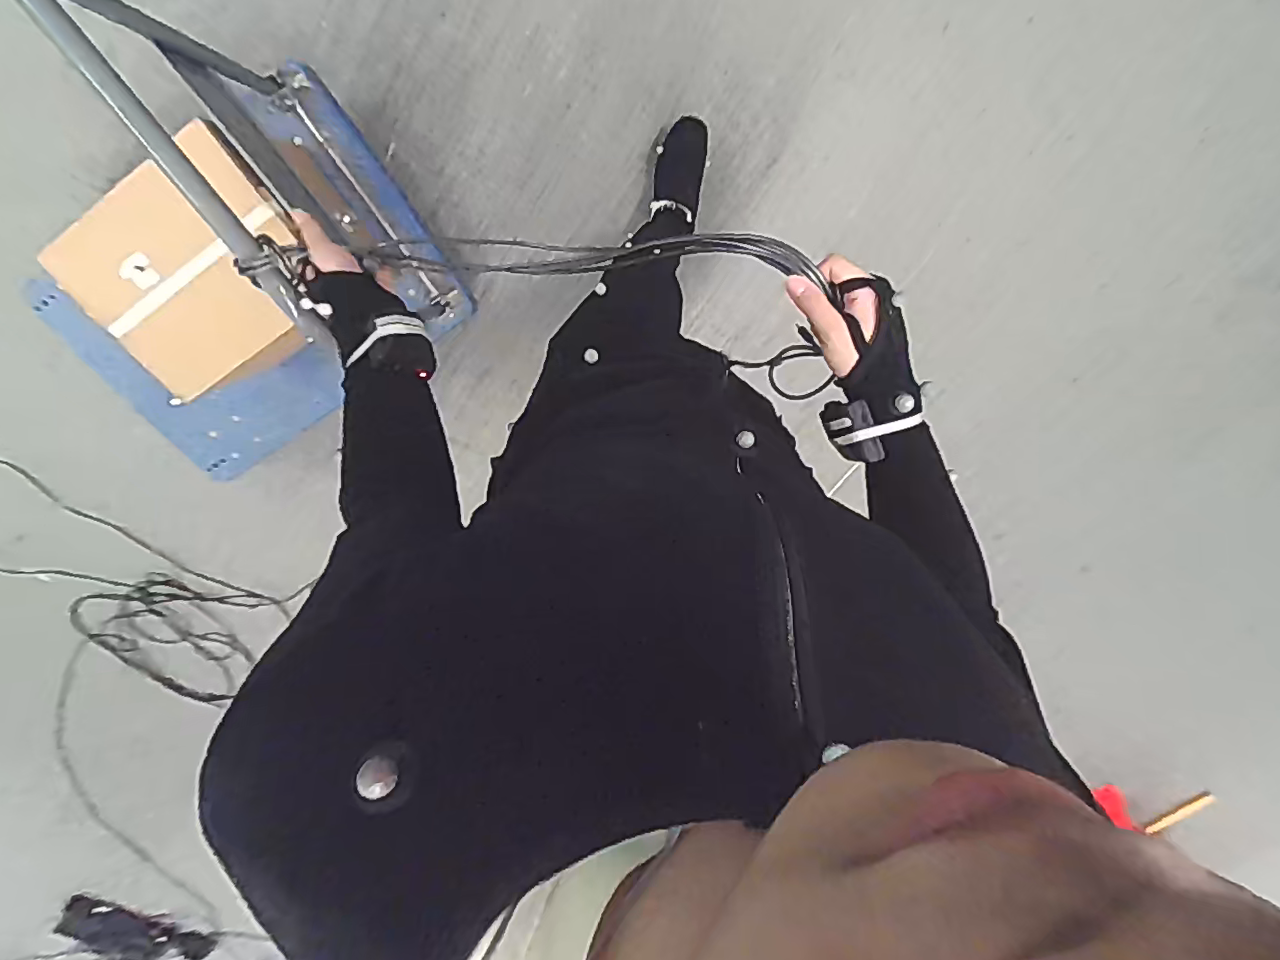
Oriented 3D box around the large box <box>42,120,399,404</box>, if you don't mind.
[{"bbox_3d":[-0.778,-0.420,1.071,0.408,0.320,0.320,-28,113,11],"label":"large box"}]
